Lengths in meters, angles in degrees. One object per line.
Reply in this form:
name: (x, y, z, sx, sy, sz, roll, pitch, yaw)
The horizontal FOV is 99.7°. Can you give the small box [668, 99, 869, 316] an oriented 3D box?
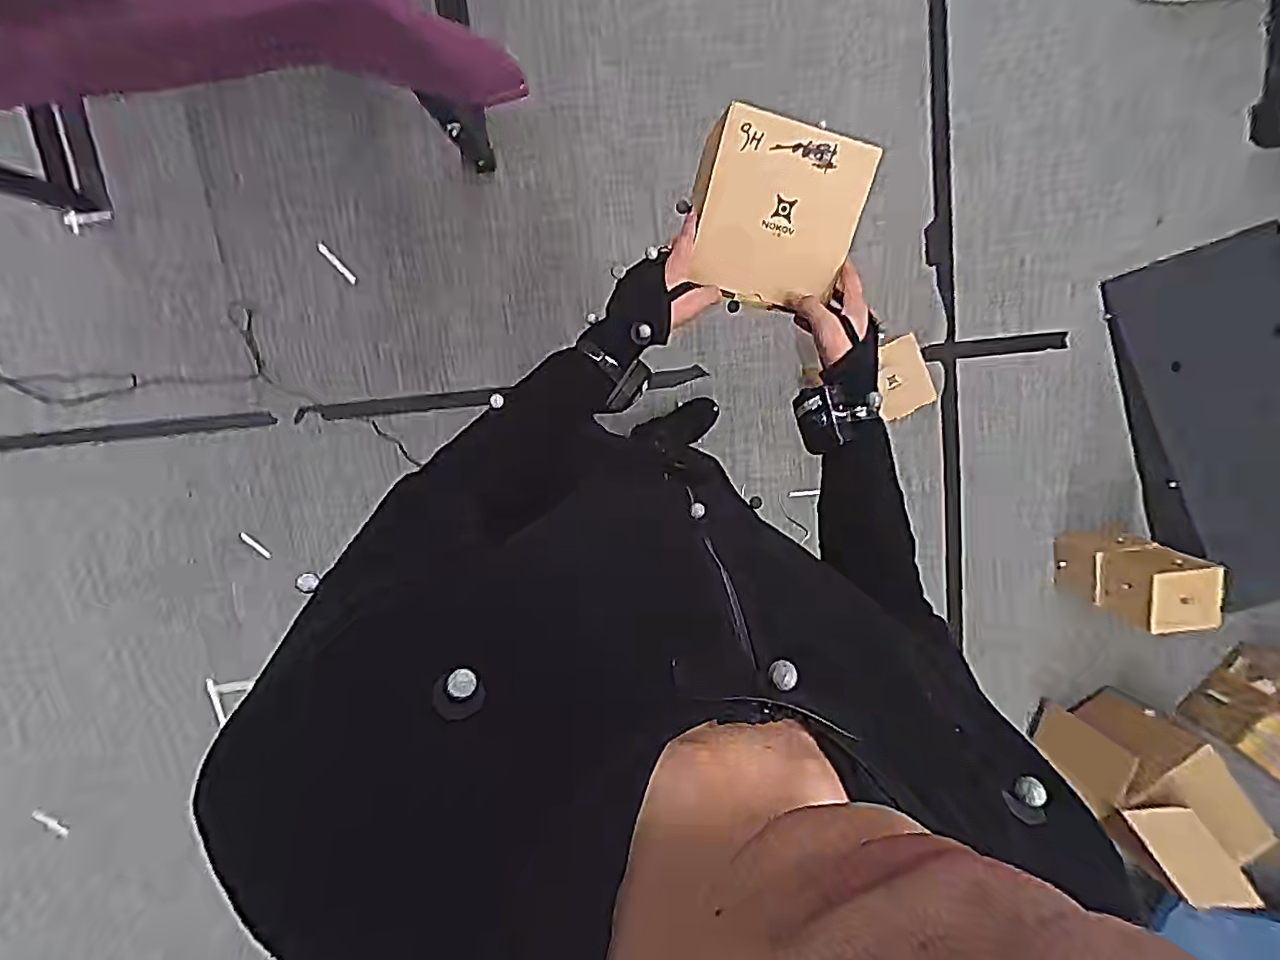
small box: (0.134, -0.310, 0.646, 0.168, 0.176, 0.179, 13, 110, -8)
